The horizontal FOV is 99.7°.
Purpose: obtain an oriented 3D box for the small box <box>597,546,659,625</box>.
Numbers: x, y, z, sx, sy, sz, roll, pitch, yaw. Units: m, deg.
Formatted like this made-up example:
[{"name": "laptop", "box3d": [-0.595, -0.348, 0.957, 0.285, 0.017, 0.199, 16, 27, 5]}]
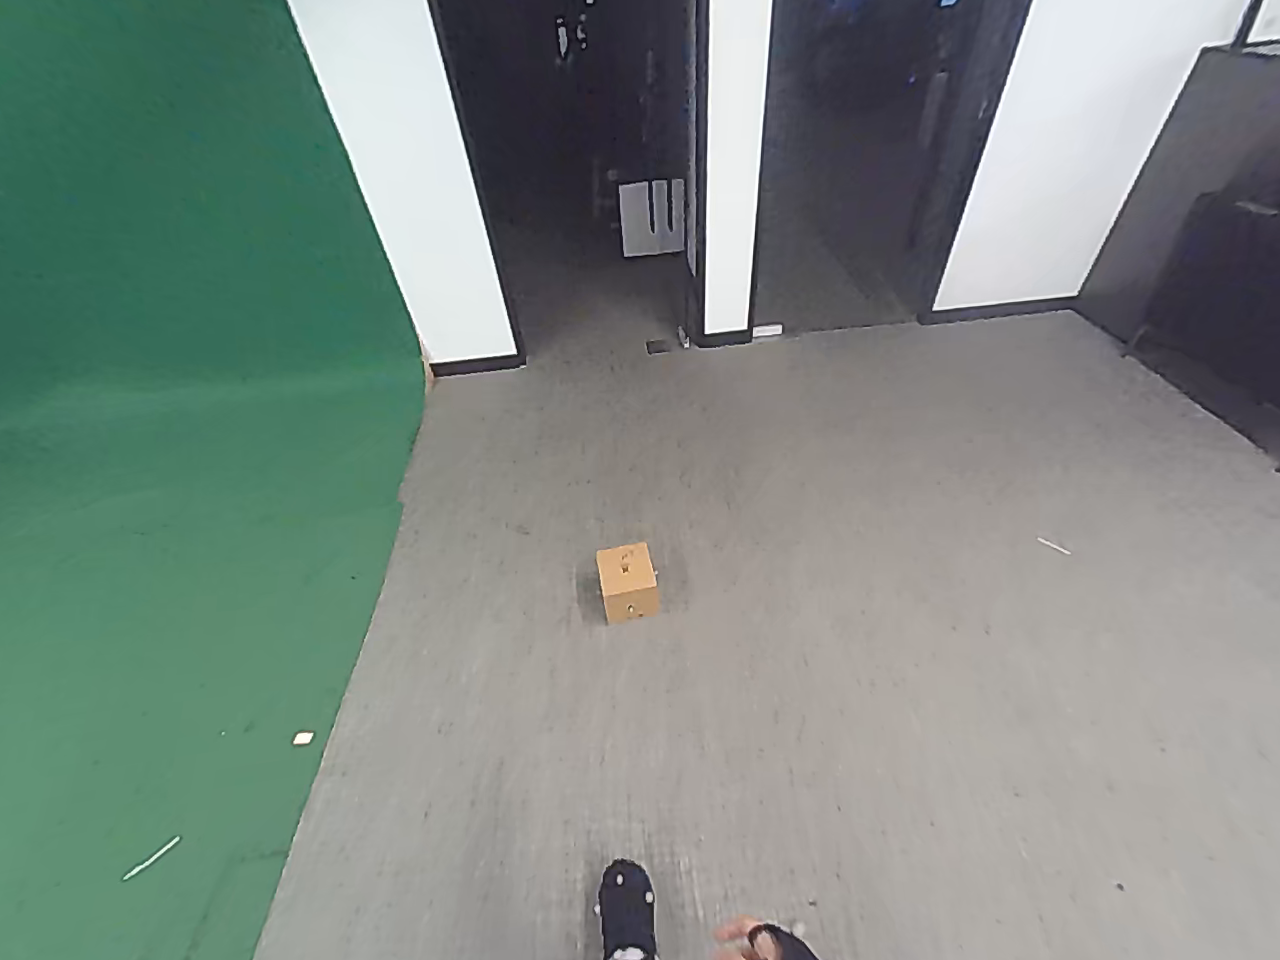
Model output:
[{"name": "small box", "box3d": [-0.035, 0.339, 1.708, 0.168, 0.176, 0.179, -10, 44, -5]}]
